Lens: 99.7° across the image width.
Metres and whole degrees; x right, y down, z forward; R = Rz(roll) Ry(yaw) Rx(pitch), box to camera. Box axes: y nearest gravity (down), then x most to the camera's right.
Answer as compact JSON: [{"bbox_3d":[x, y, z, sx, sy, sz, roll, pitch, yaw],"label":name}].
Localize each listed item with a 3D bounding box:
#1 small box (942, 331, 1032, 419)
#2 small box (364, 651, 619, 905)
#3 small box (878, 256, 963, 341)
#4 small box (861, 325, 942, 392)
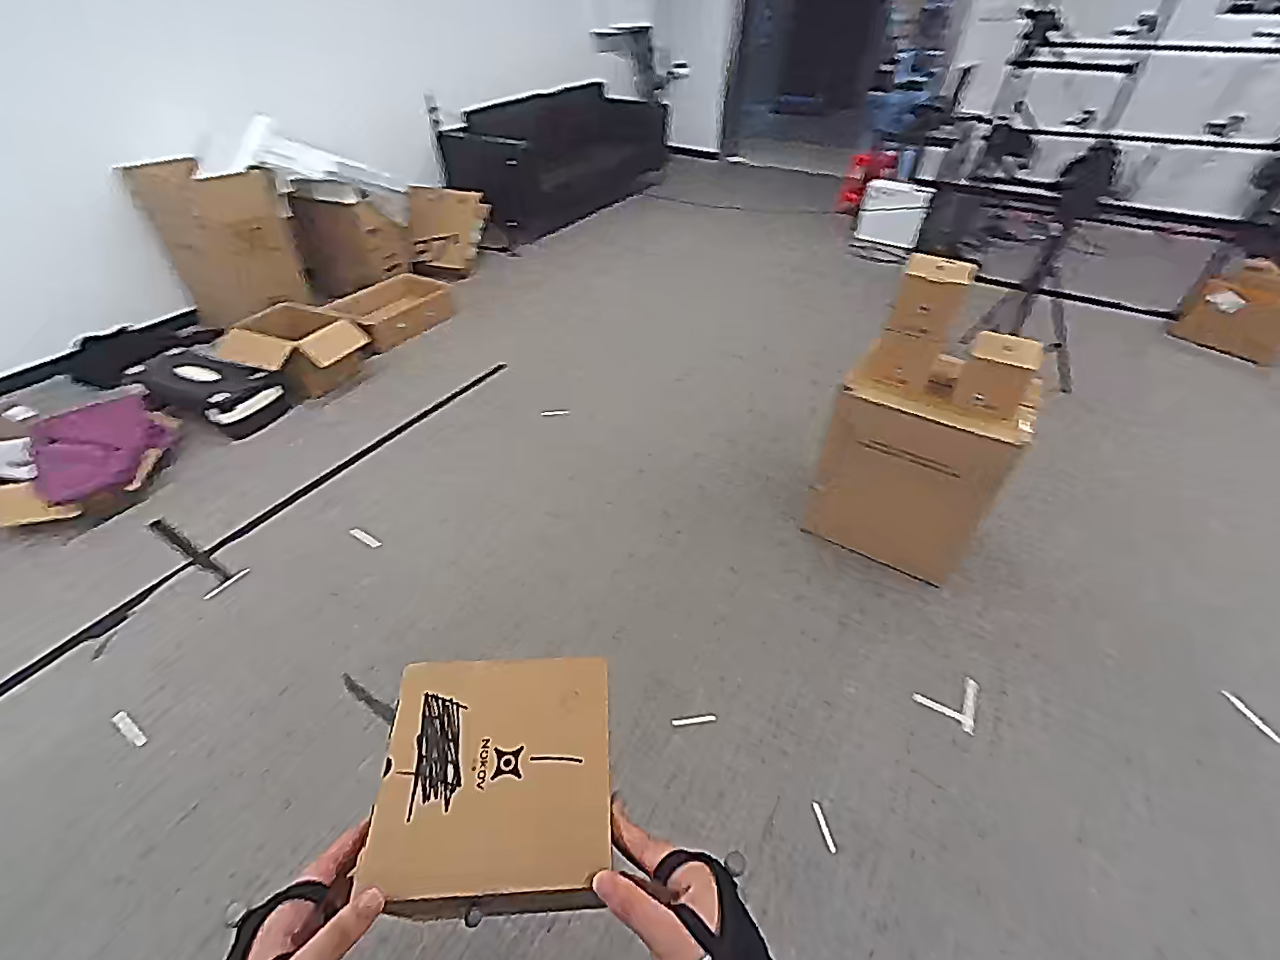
[{"bbox_3d":[1.003,-0.305,1.569,0.168,0.176,0.179,21,48,25],"label":"small box"},{"bbox_3d":[-0.108,0.266,0.481,0.179,0.176,0.168,0,49,-4],"label":"small box"},{"bbox_3d":[0.805,-0.523,1.563,0.168,0.176,0.179,21,47,20],"label":"small box"},{"bbox_3d":[0.804,-0.400,1.672,0.168,0.176,0.179,22,47,22],"label":"small box"}]
